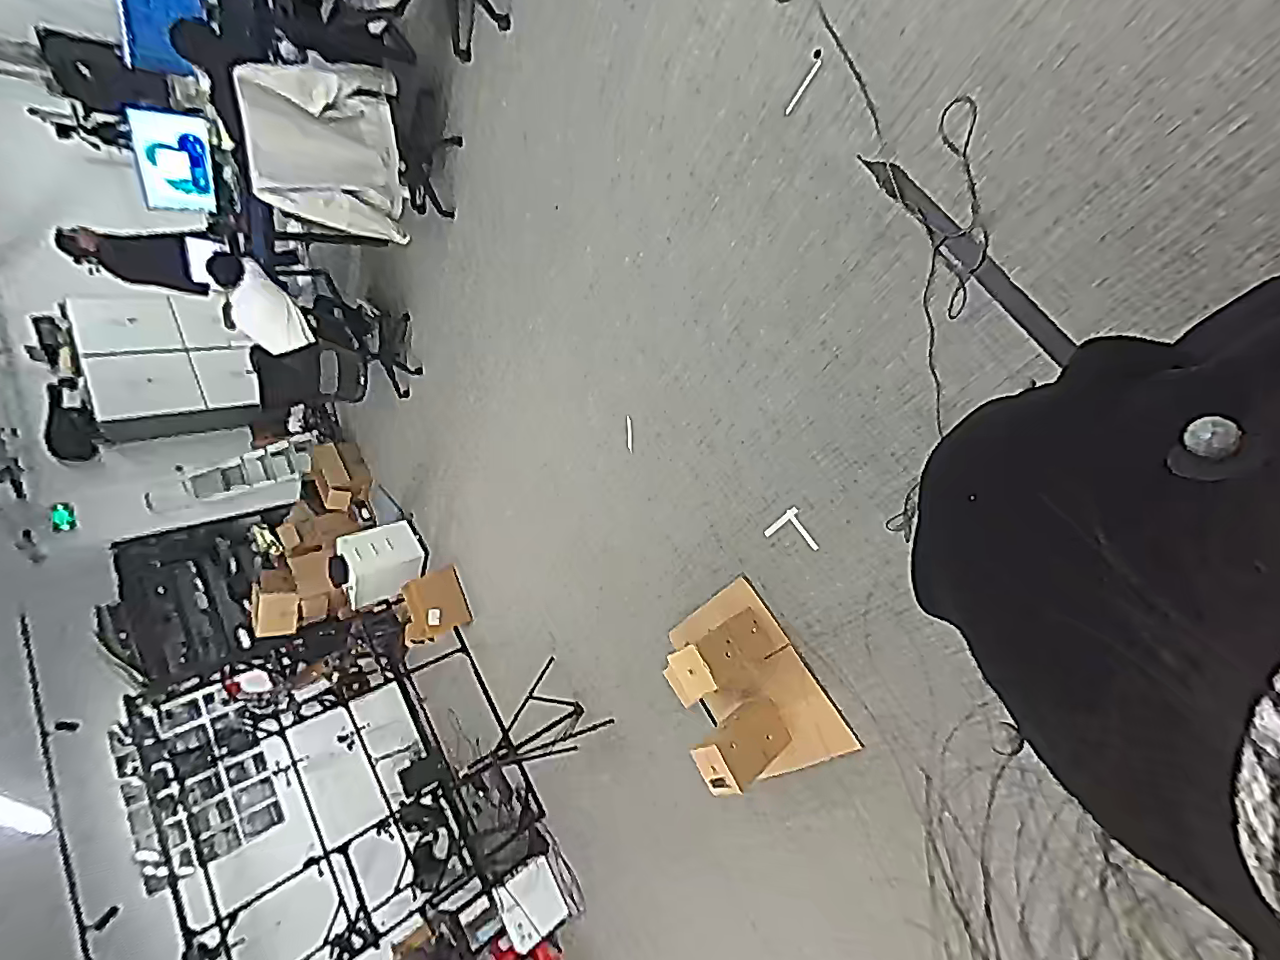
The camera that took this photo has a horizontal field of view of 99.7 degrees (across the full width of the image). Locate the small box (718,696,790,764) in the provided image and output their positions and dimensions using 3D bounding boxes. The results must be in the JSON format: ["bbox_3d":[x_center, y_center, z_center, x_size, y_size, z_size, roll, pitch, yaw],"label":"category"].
[{"bbox_3d":[0.439,0.954,2.064,0.168,0.176,0.179,-39,75,47],"label":"small box"}]

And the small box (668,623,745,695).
[{"bbox_3d":[0.239,0.634,1.924,0.168,0.176,0.179,59,137,15],"label":"small box"}]

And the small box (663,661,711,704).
[{"bbox_3d":[0.234,0.788,2.241,0.179,0.176,0.168,53,137,20],"label":"small box"}]
